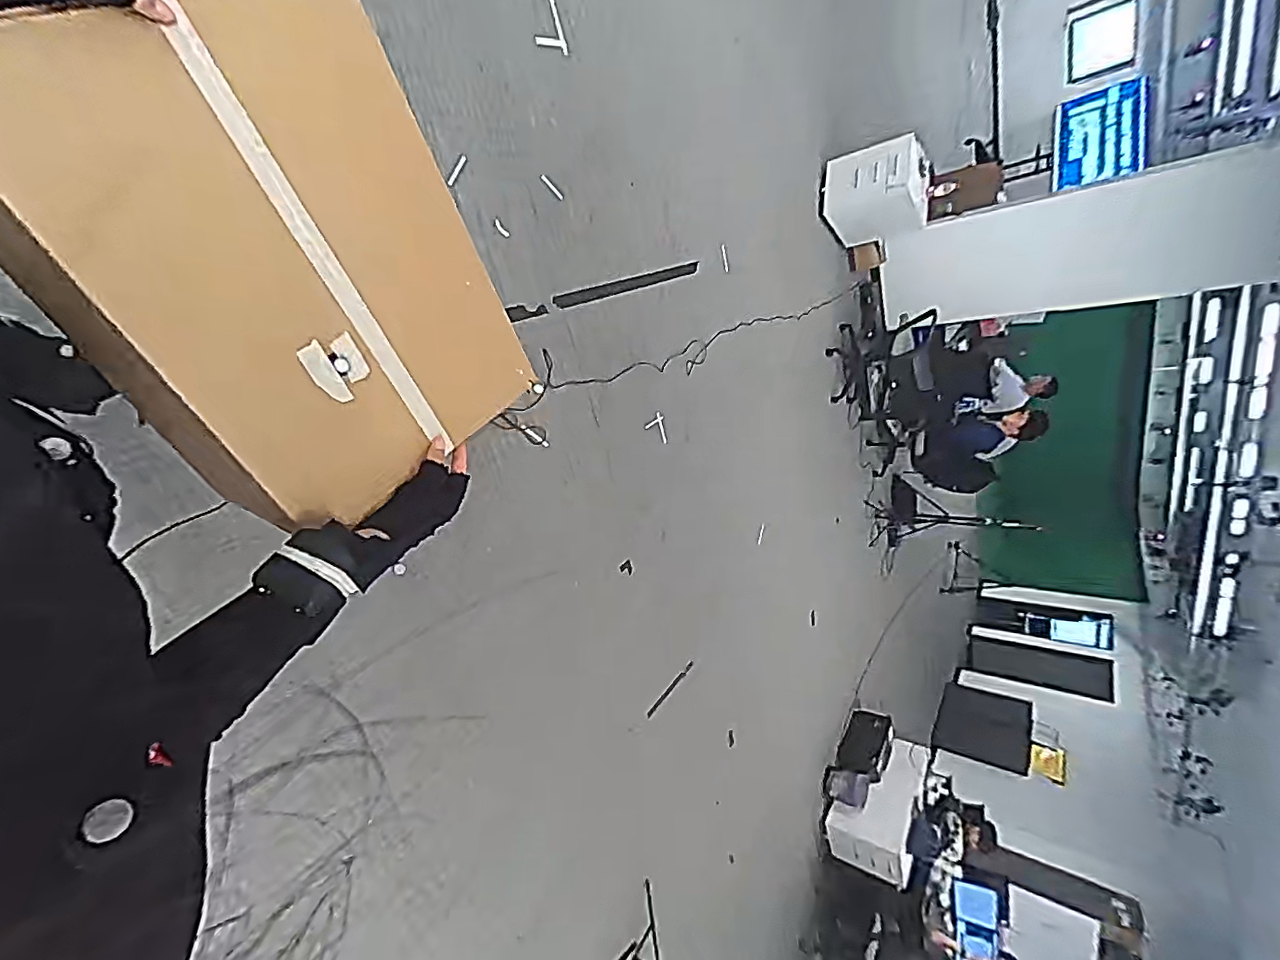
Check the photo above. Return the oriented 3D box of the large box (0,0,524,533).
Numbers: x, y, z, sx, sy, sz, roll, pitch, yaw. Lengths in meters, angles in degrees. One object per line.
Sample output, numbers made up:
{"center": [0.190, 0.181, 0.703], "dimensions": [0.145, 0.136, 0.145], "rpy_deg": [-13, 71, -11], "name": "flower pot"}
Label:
{"center": [-0.407, -0.211, 0.586], "dimensions": [0.320, 0.320, 0.408], "rpy_deg": [-49, 134, -33], "name": "large box"}
